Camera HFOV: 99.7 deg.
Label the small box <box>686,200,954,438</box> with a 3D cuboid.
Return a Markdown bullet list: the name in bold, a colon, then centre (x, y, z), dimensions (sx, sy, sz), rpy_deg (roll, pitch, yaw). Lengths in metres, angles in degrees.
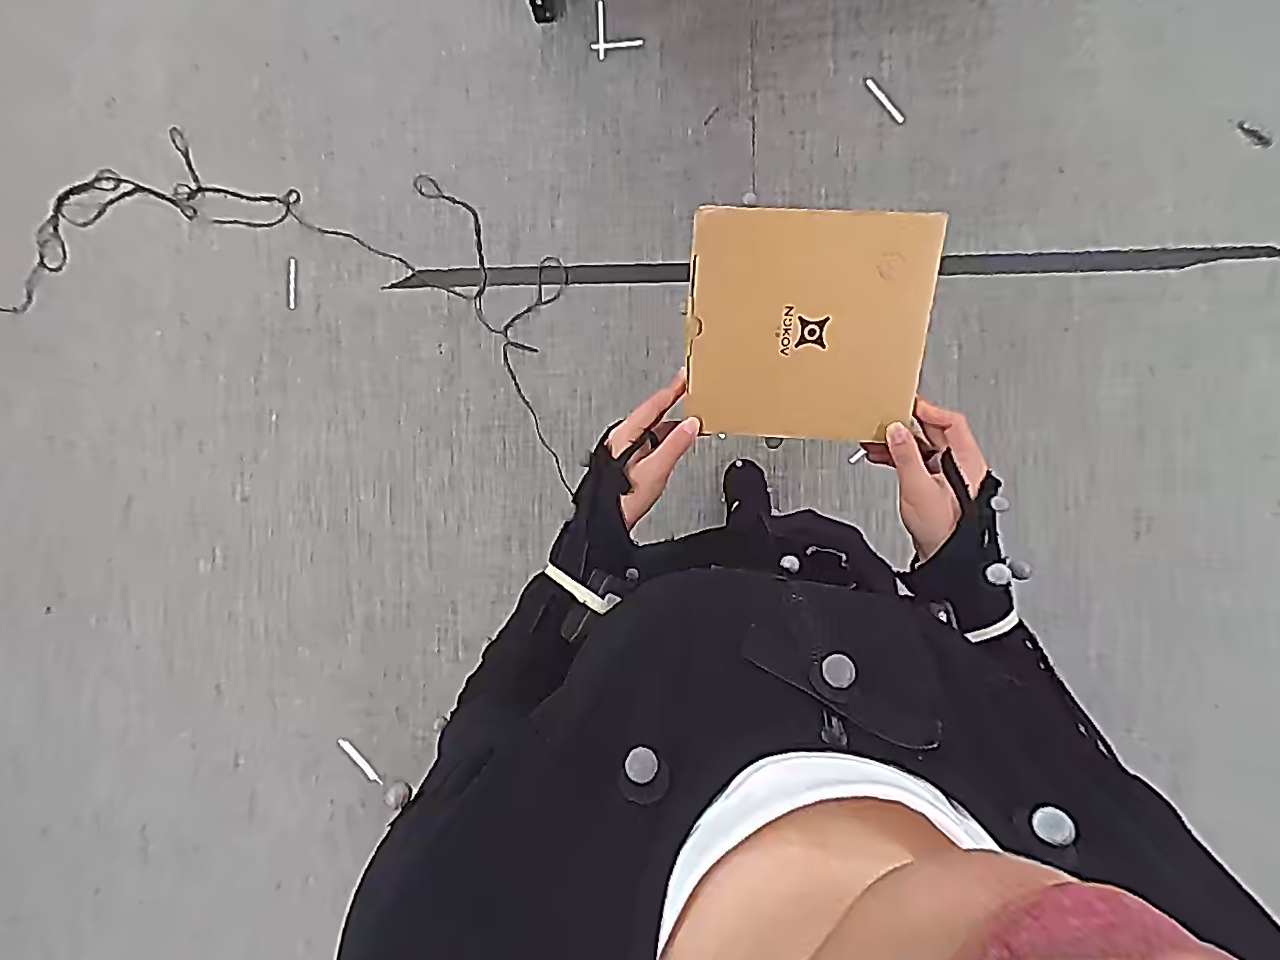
- **small box**: centre (0.133, -0.138, 0.473), dimensions (0.179, 0.176, 0.168), rpy_deg (3, 107, 5)
